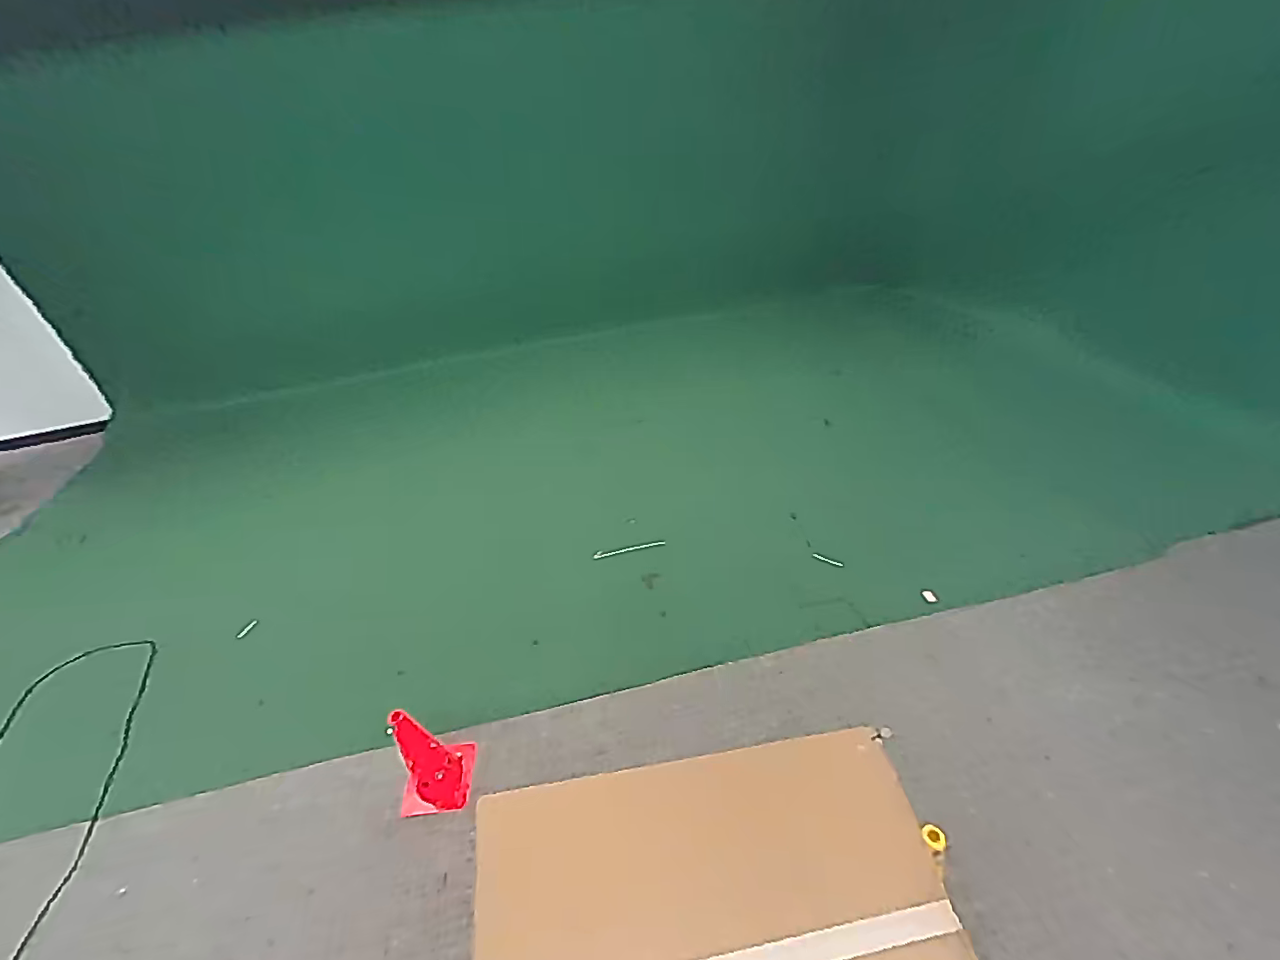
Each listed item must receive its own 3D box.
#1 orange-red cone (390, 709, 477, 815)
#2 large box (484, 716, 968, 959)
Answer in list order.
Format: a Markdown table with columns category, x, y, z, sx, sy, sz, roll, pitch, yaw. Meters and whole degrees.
| category | x | y | z | sx | sy | sz | roll | pitch | yaw |
| --- | --- | --- | --- | --- | --- | --- | --- | --- | --- |
| orange-red cone | -0.632 | 0.773 | 1.551 | 0.199 | 0.360 | 0.198 | -9 | 36 | 2 |
| large box | 0.065 | 0.487 | 0.566 | 0.408 | 0.320 | 0.320 | -6 | 51 | -9 |
